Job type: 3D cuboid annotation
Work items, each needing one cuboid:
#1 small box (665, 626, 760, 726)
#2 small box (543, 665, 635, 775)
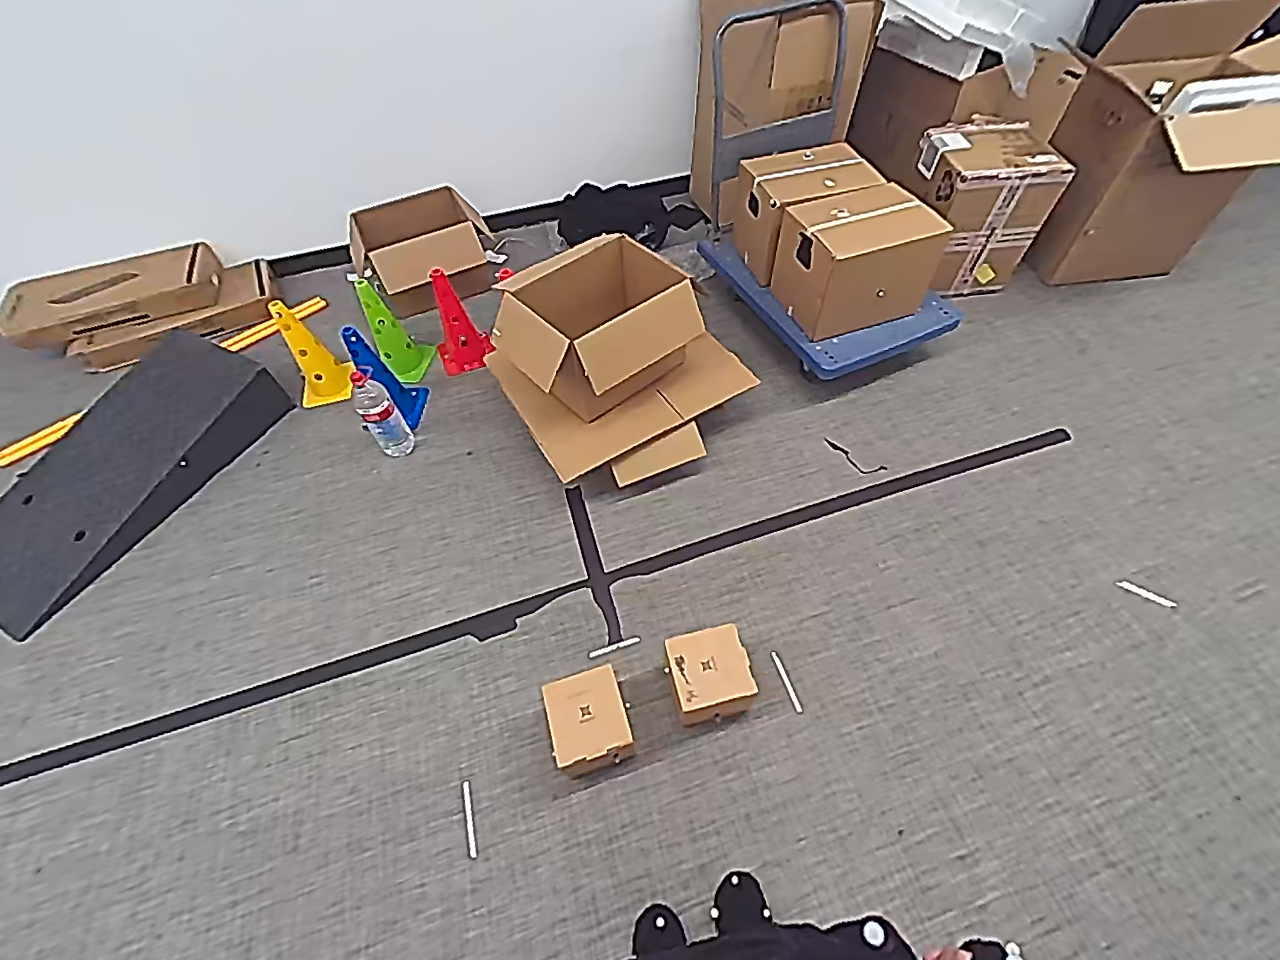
[{"bbox_3d":[0.163,0.467,1.282,0.179,0.176,0.168,-11,56,-7],"label":"small box"},{"bbox_3d":[-0.111,0.553,1.232,0.168,0.176,0.179,-16,55,-10],"label":"small box"}]
